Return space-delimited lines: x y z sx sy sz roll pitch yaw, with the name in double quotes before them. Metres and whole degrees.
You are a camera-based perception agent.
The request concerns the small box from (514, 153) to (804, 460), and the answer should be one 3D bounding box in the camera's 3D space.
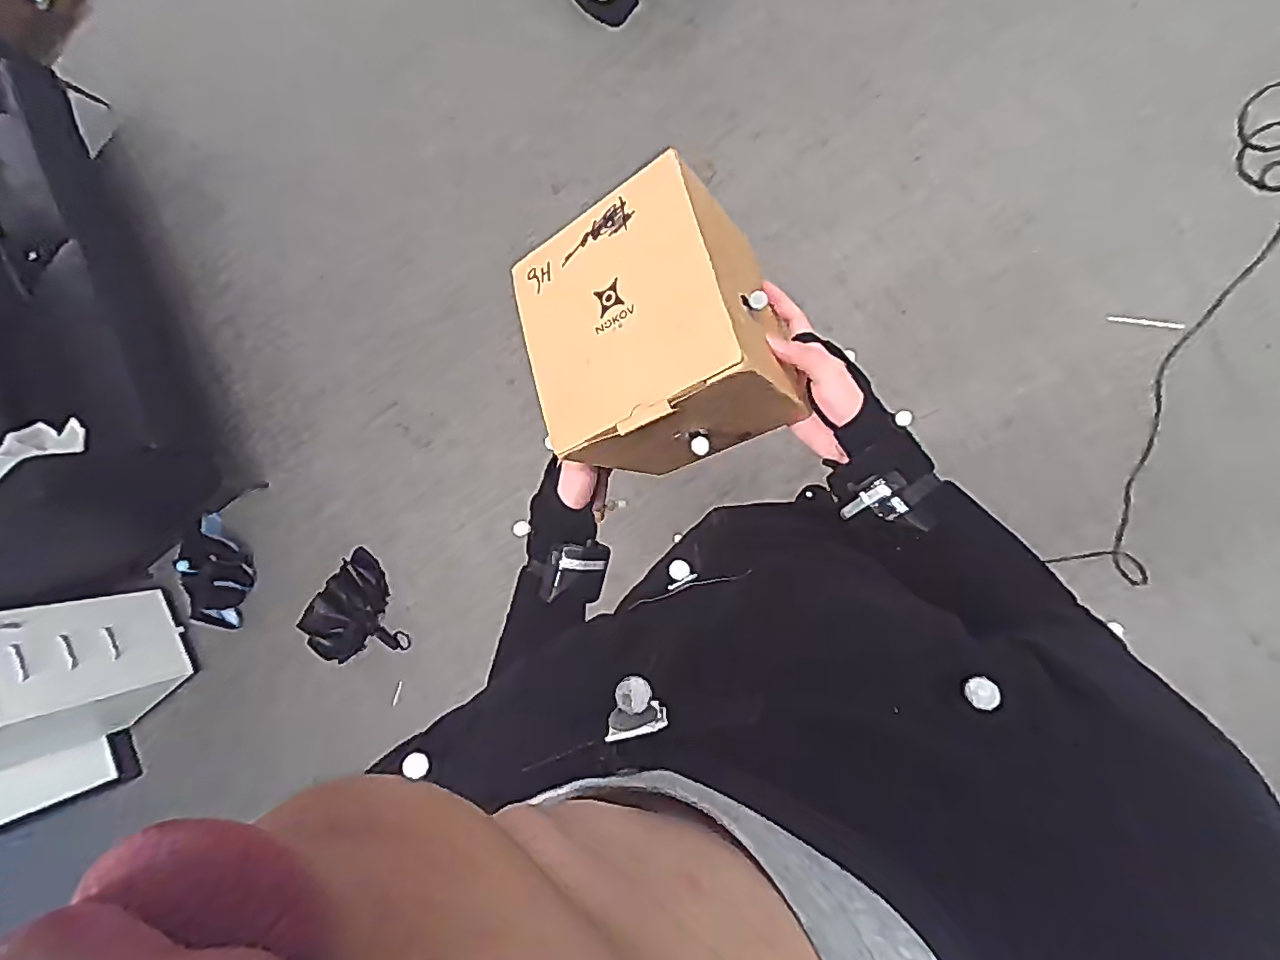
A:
"small box" 0.023 -0.123 0.471 0.168 0.176 0.179 -23 75 28
